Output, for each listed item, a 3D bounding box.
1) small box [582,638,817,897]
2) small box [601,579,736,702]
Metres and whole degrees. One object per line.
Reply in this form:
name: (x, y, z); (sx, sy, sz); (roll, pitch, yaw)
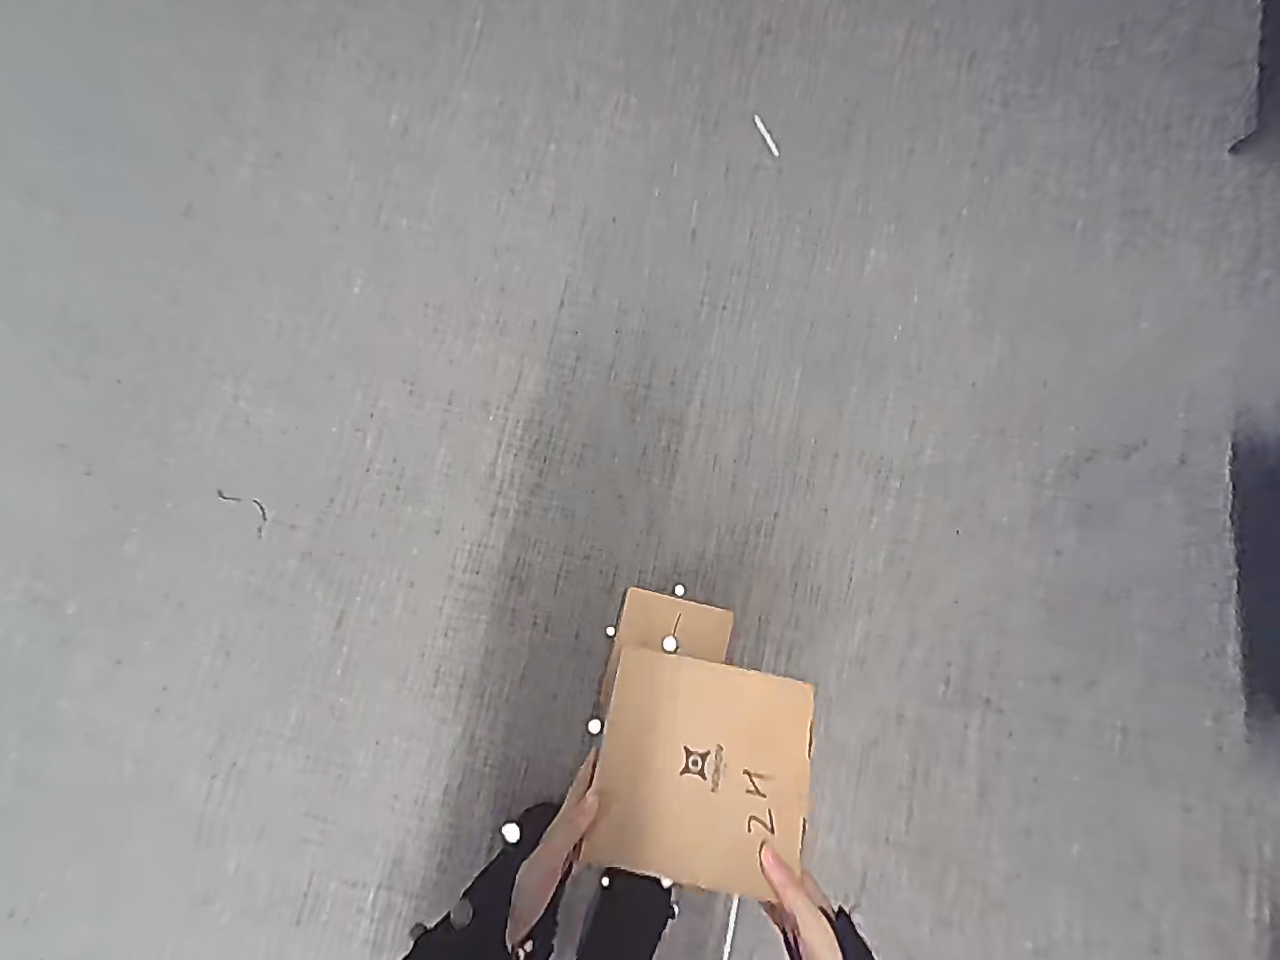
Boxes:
small box: (0.051, 0.258, 0.522); (0.179, 0.176, 0.168); (12, 71, 1)
small box: (0.042, 0.265, 0.865); (0.168, 0.176, 0.179); (14, 81, 0)
